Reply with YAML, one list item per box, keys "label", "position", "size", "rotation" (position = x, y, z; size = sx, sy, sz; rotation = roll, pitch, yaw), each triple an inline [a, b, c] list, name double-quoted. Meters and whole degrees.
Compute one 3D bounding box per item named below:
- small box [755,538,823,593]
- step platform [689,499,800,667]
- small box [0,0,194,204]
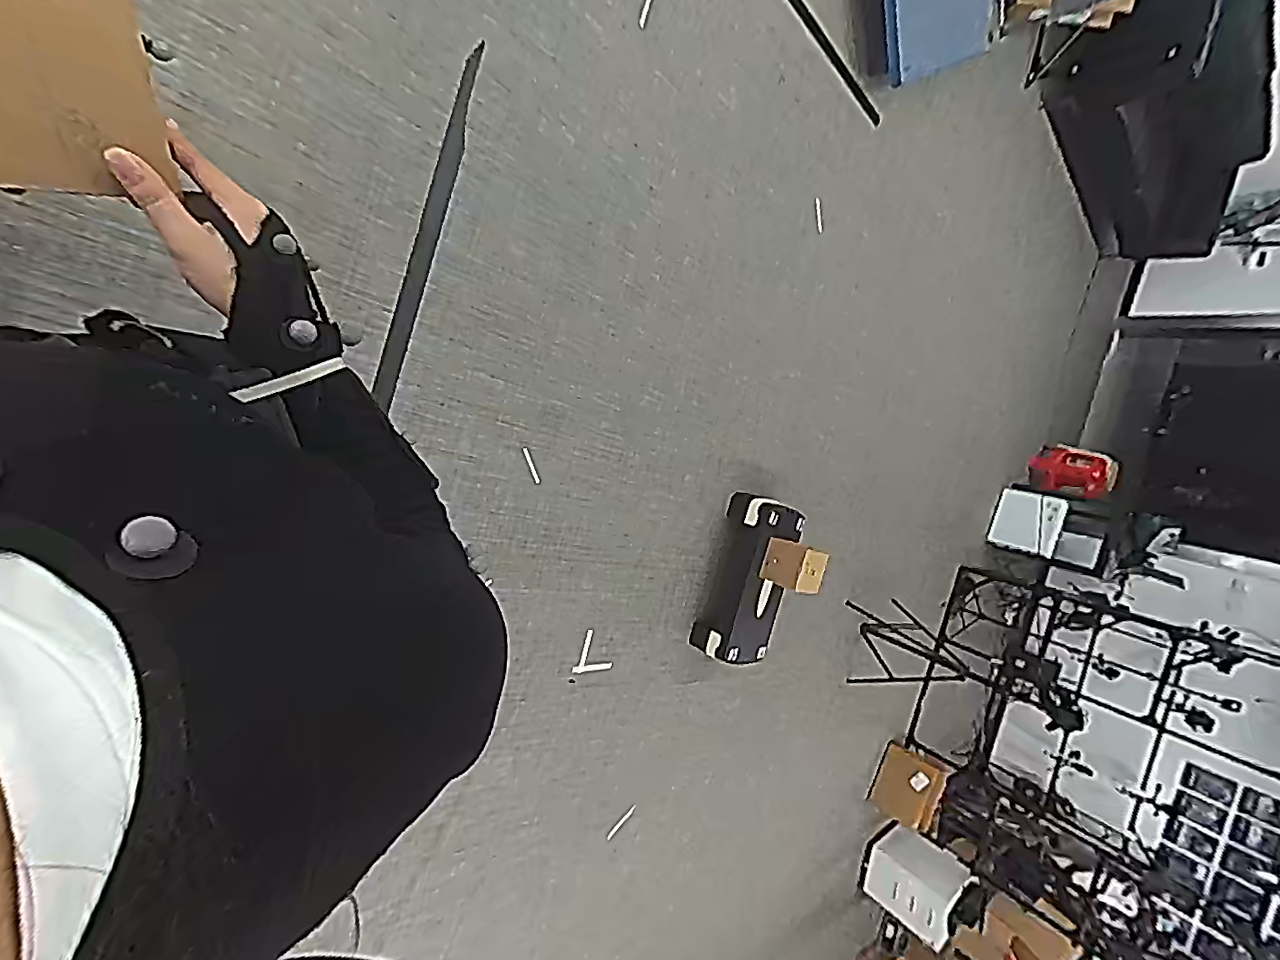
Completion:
- label: "small box"
  position: [0.582, 0.335, 2.121]
  size: [0.179, 0.176, 0.168]
  rotation: [16, 91, -42]
- label: "step platform"
  position: [0.447, 0.432, 2.266]
  size: [0.286, 0.204, 0.684]
  rotation: [14, 92, -43]
- label: "small box"
  position: [-0.375, -0.268, 0.297]
  size: [0.168, 0.176, 0.179]
  rotation: [-14, 128, -36]
